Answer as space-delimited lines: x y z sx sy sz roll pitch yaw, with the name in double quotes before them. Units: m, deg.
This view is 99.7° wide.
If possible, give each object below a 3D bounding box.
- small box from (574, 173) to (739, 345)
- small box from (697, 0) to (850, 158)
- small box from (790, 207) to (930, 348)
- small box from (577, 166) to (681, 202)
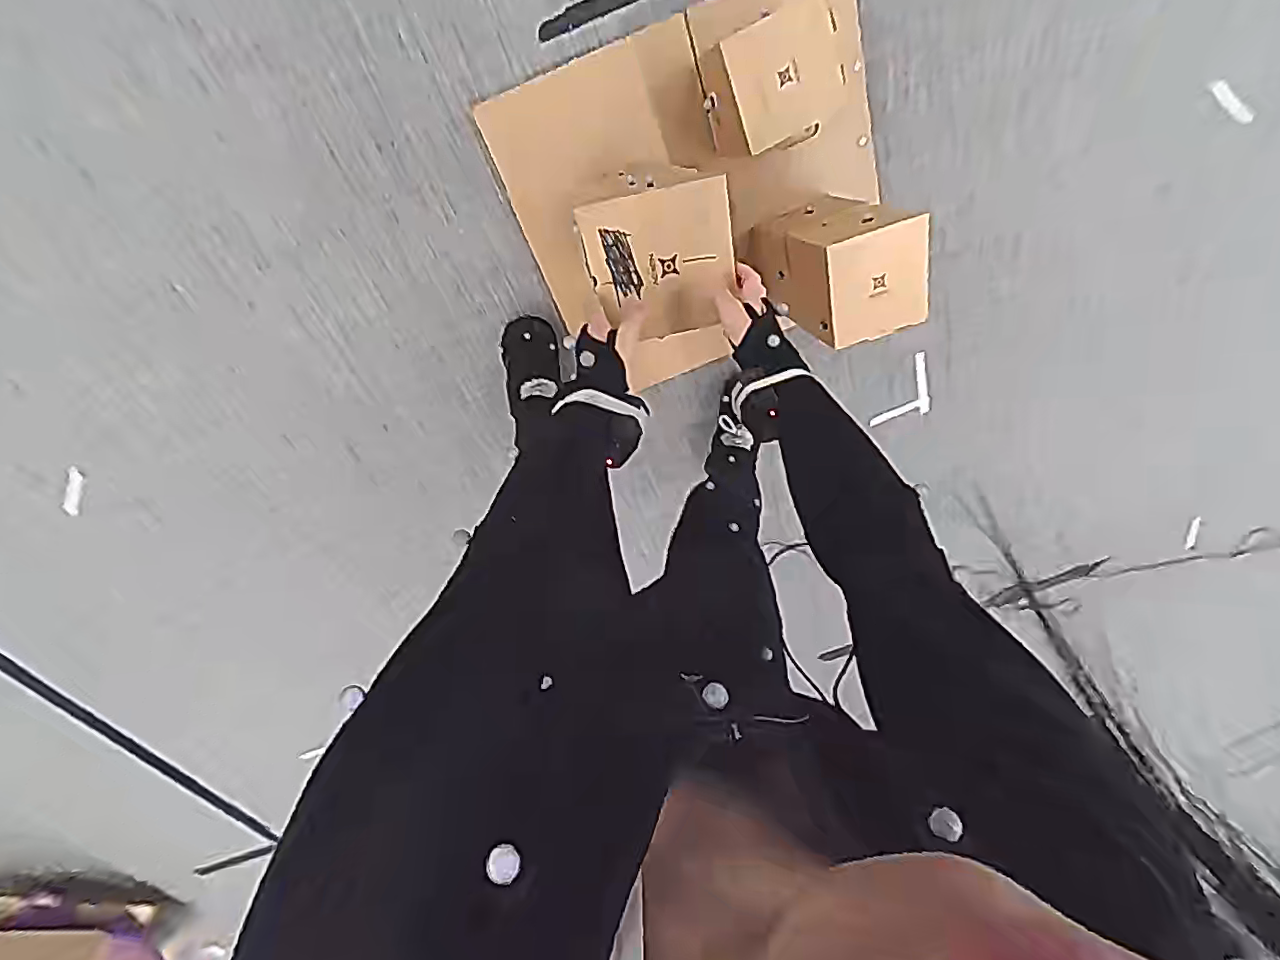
"small box" 0.020 -0.291 0.707 0.179 0.176 0.168 -11 120 1
"small box" 0.219 -0.670 0.912 0.179 0.176 0.168 -27 120 5
"small box" 0.372 -0.356 0.934 0.168 0.176 0.179 -18 123 2
"small box" -0.011 -0.466 0.991 0.179 0.176 0.168 -13 122 1
